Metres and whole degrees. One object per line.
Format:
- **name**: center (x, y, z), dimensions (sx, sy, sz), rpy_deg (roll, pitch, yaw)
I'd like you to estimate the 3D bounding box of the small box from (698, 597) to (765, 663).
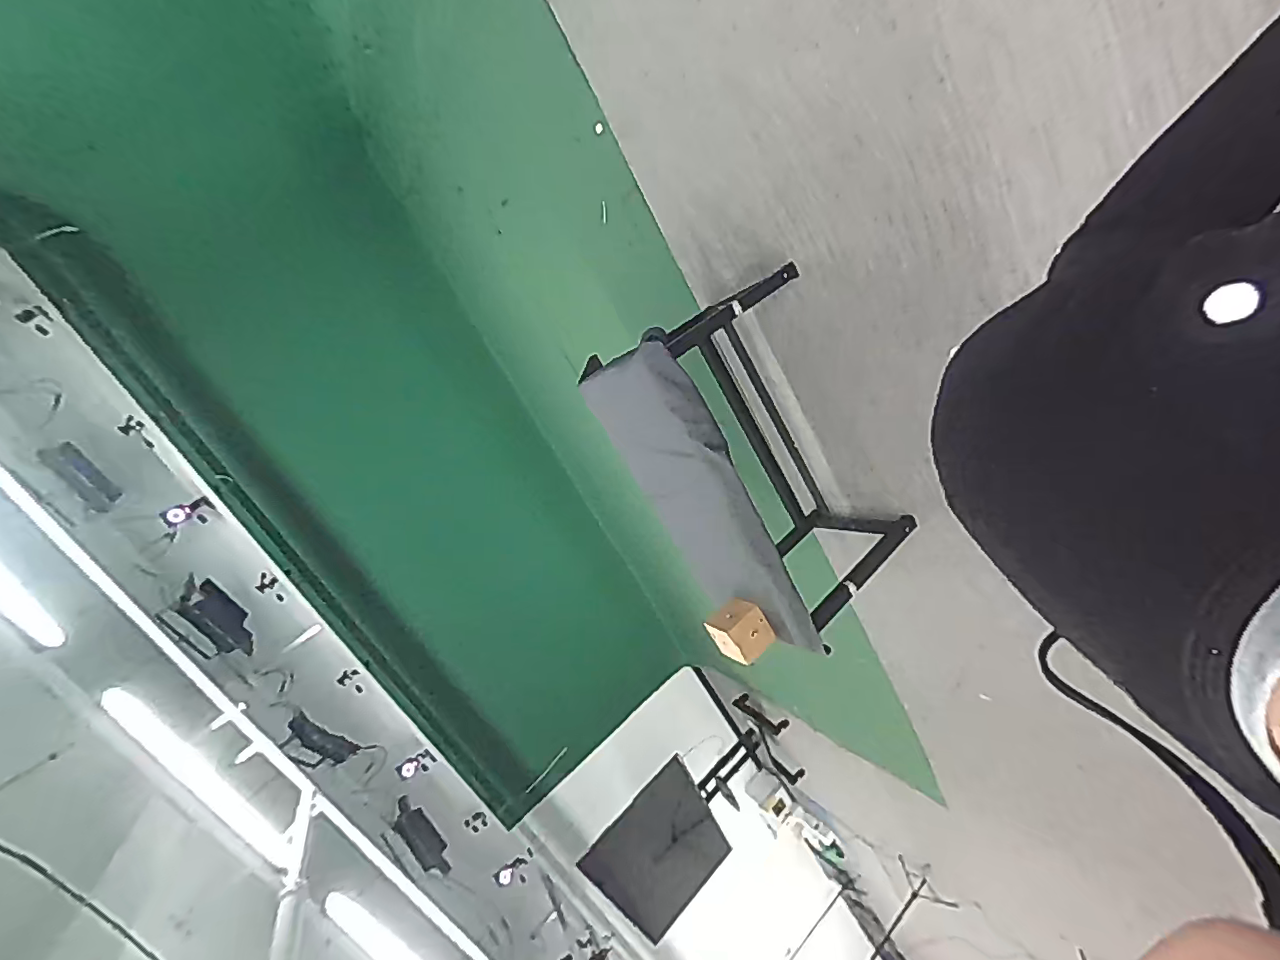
- **small box**: center (0.370, 0.586, 2.139), dimensions (0.168, 0.176, 0.179), rpy_deg (58, 157, -13)
